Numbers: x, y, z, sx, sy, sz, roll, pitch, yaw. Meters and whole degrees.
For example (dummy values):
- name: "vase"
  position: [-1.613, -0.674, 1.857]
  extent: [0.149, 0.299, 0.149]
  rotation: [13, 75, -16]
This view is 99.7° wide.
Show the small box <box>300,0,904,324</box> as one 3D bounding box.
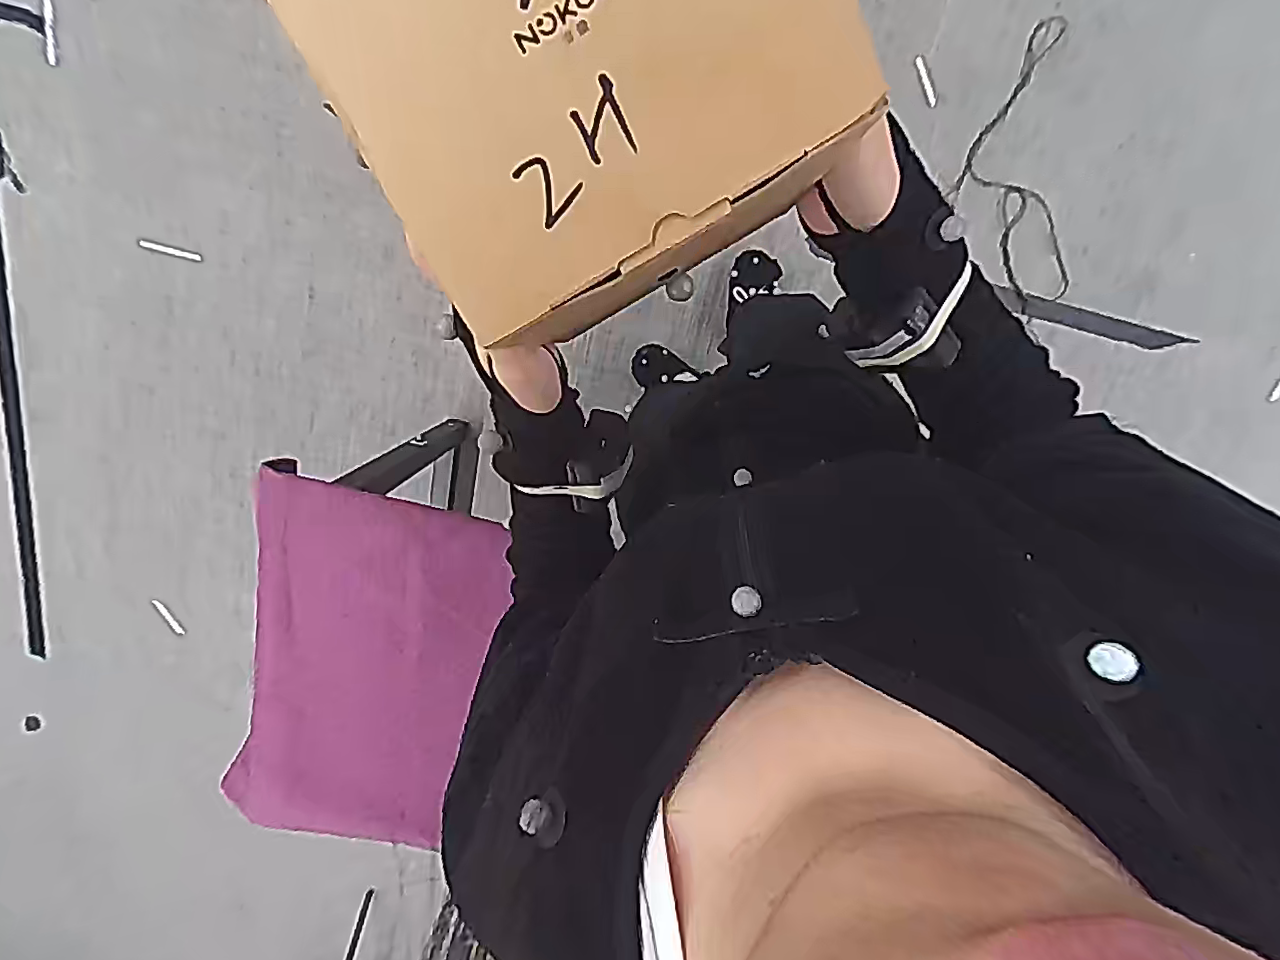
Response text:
- name: "small box"
  position: [-0.021, -0.186, 0.247]
  extent: [0.168, 0.176, 0.179]
  rotation: [-27, 103, 10]
